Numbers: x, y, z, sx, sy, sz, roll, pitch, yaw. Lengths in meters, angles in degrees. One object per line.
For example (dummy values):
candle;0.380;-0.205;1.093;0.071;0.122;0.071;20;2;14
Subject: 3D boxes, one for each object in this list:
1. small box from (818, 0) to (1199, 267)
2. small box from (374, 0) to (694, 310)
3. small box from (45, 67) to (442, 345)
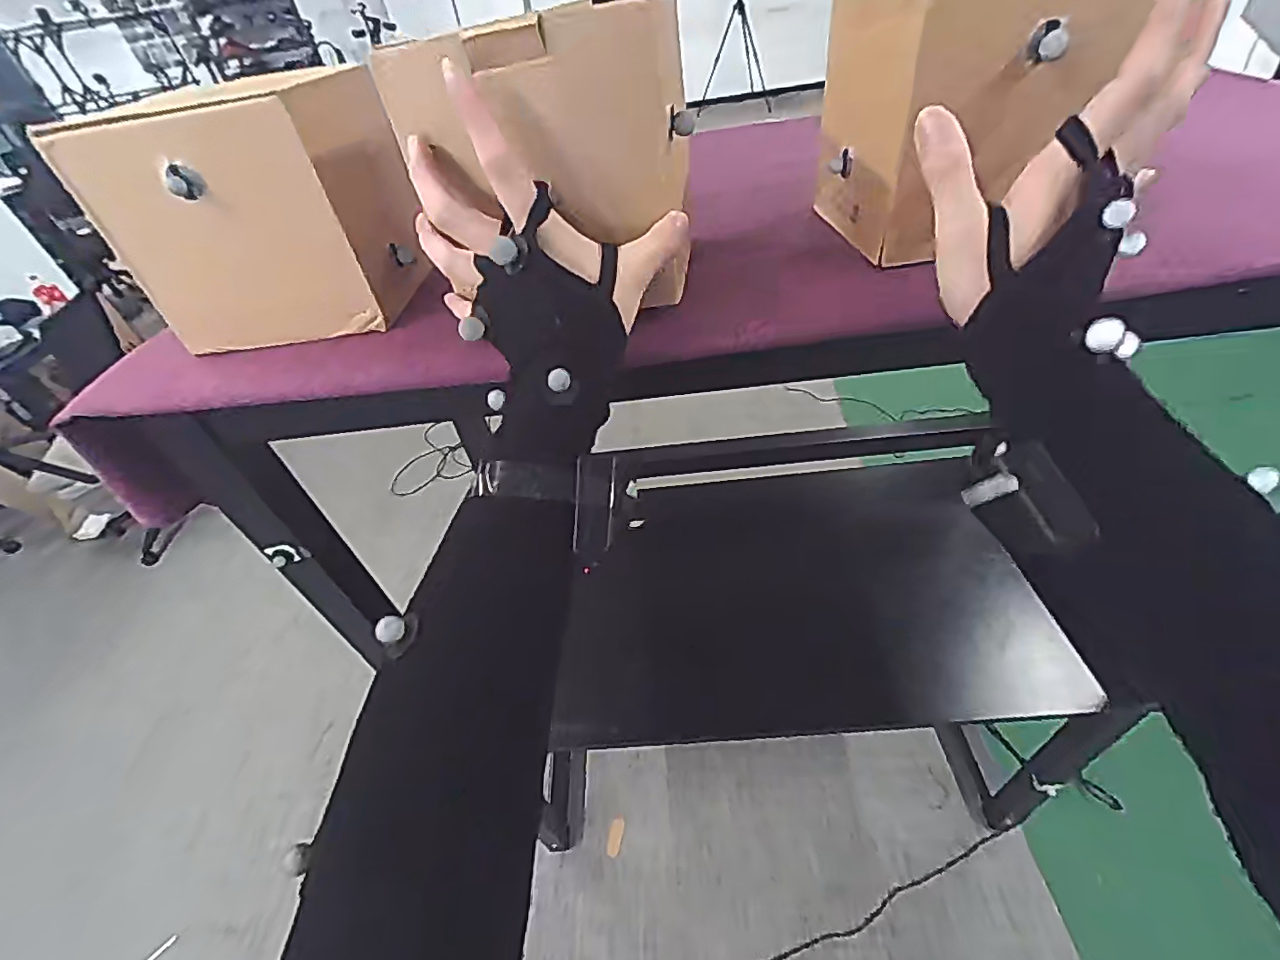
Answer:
small box;0.256;-0.290;0.428;0.179;0.176;0.168;-9;41;2
small box;-0.051;-0.239;0.408;0.168;0.176;0.179;-2;42;12
small box;-0.298;-0.228;0.460;0.179;0.176;0.168;-5;42;3
